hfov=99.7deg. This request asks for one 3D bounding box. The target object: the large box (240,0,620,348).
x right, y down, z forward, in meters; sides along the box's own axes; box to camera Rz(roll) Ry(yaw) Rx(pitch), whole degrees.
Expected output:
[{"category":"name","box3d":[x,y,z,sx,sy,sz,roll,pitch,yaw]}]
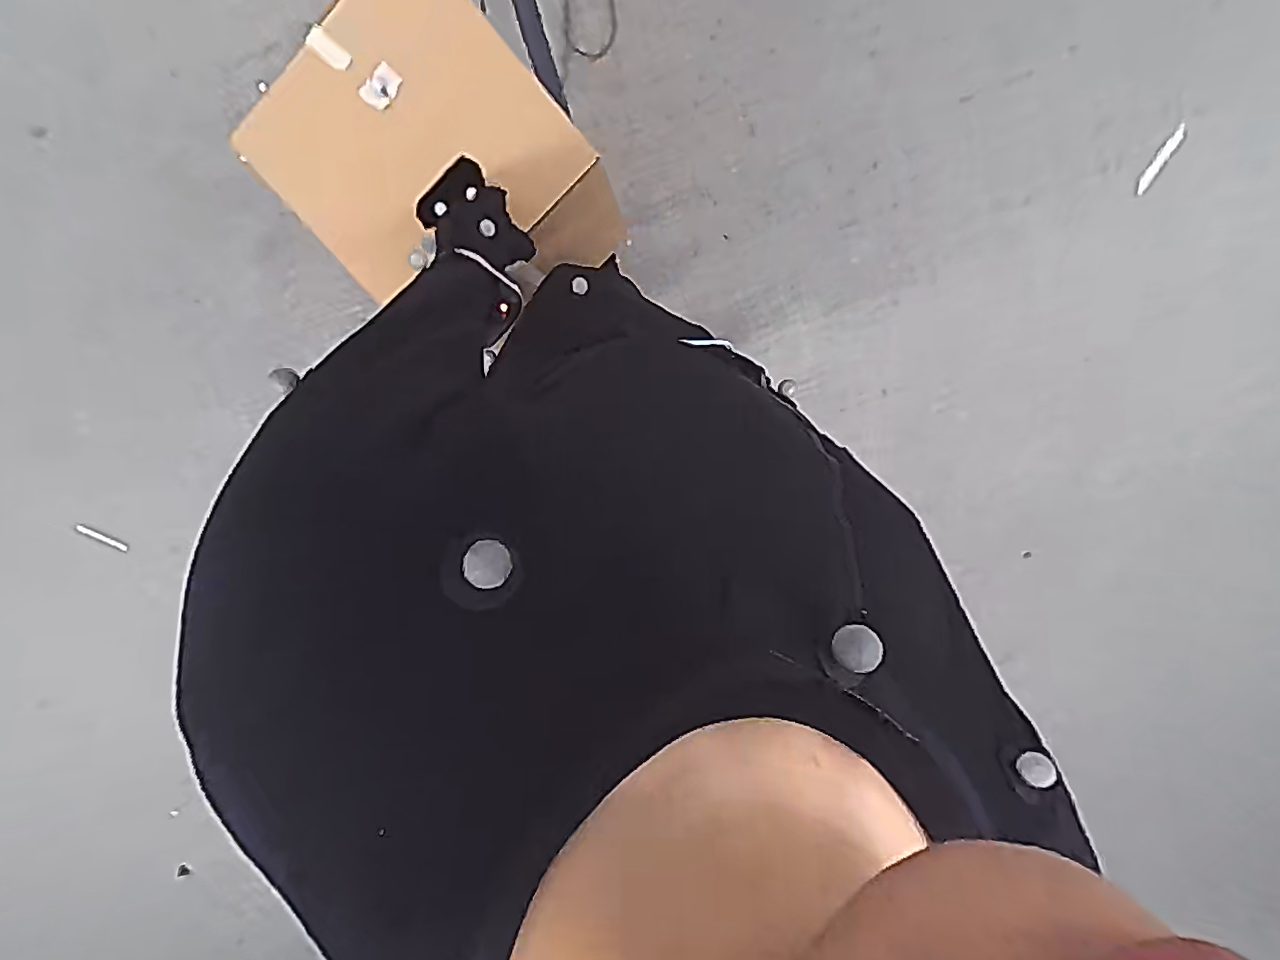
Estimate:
[{"category":"large box","box3d":[-0.264,-0.423,0.822,0.320,0.408,0.320,-41,97,12]}]
